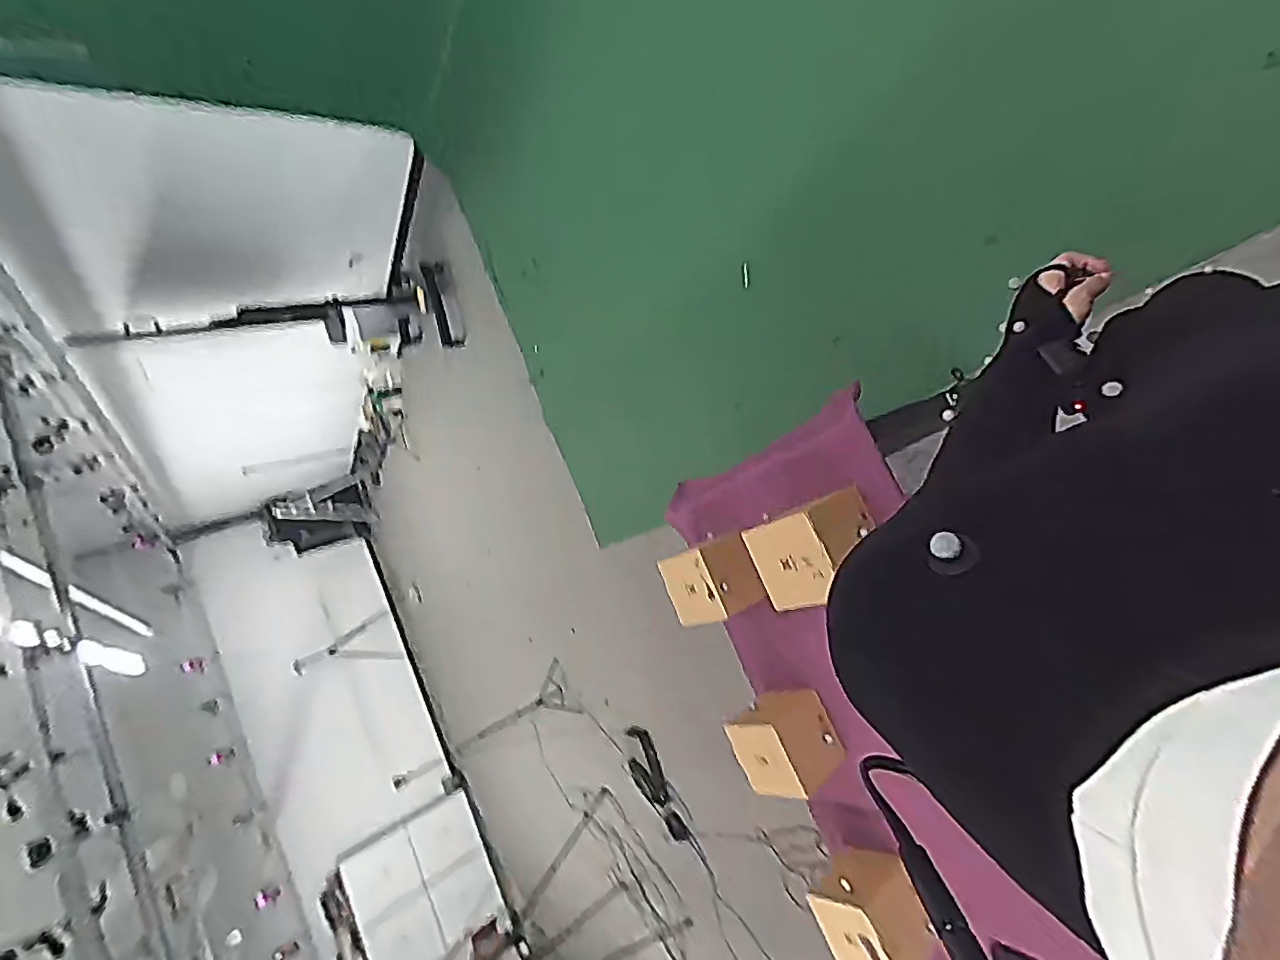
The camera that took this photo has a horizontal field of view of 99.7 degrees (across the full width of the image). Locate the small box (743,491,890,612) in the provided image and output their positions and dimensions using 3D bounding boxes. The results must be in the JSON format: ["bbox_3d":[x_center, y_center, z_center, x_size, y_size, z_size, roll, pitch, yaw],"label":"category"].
[{"bbox_3d":[0.339,0.137,1.042,0.179,0.176,0.168,-32,80,53],"label":"small box"}]

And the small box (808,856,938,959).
[{"bbox_3d":[0.511,0.955,1.171,0.179,0.176,0.168,-42,70,52],"label":"small box"}]

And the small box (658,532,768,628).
[{"bbox_3d":[0.180,0.239,1.297,0.179,0.176,0.168,-32,80,53],"label":"small box"}]

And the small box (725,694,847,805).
[{"bbox_3d":[0.339,0.616,1.254,0.179,0.176,0.168,-36,76,52],"label":"small box"}]
